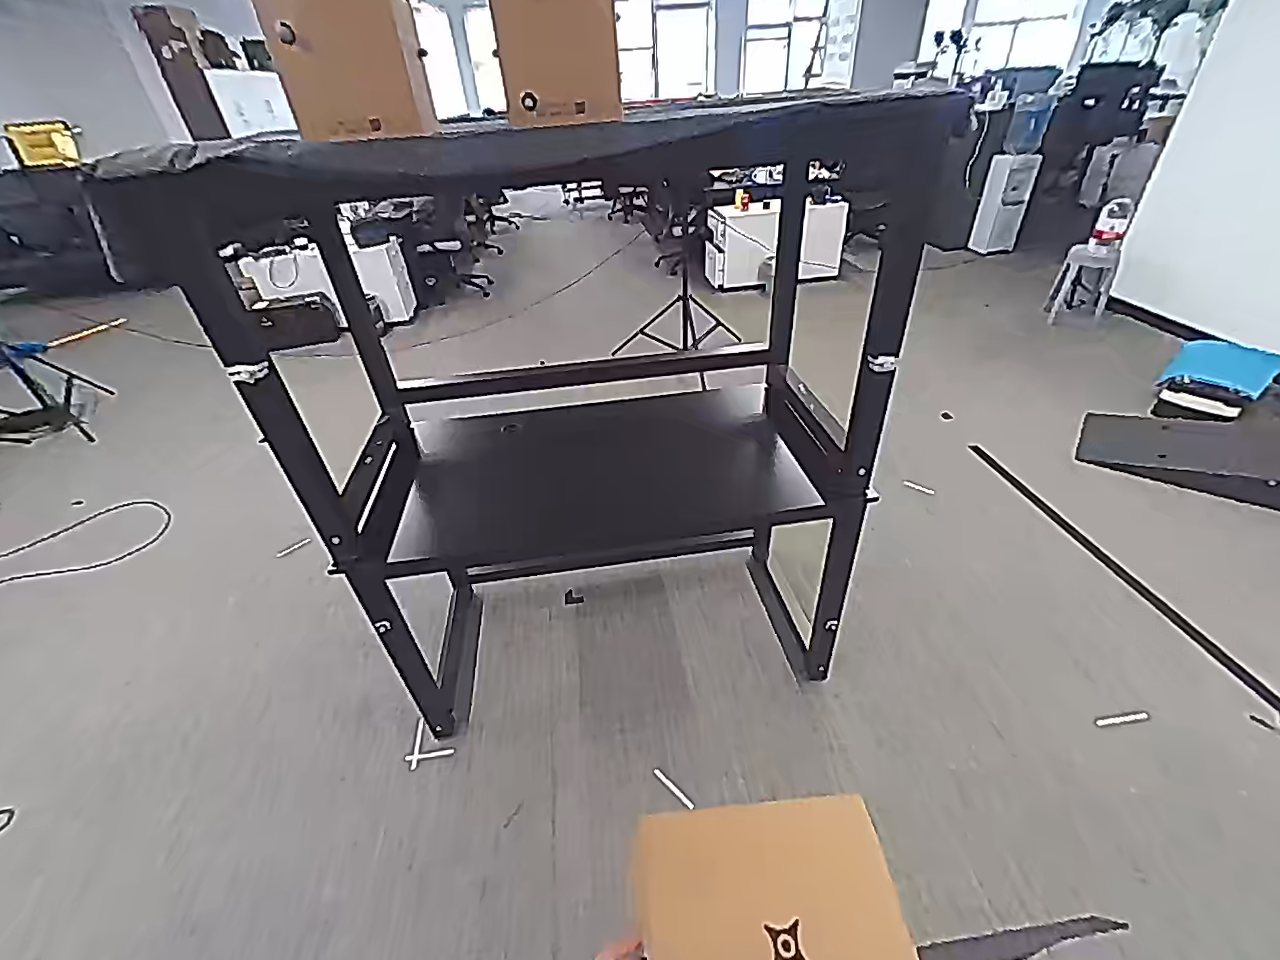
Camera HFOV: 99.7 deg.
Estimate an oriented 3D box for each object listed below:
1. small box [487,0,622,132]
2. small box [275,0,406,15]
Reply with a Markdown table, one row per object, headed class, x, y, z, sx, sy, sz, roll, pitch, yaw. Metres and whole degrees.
| class | x | y | z | sx | sy | sz | roll | pitch | yaw |
| --- | --- | --- | --- | --- | --- | --- | --- | --- | --- |
| small box | -0.120 | -0.624 | 0.802 | 0.168 | 0.176 | 0.179 | -7 | 34 | -4 |
| small box | -0.413 | -0.717 | 0.684 | 0.168 | 0.176 | 0.179 | -7 | 34 | -4 |
